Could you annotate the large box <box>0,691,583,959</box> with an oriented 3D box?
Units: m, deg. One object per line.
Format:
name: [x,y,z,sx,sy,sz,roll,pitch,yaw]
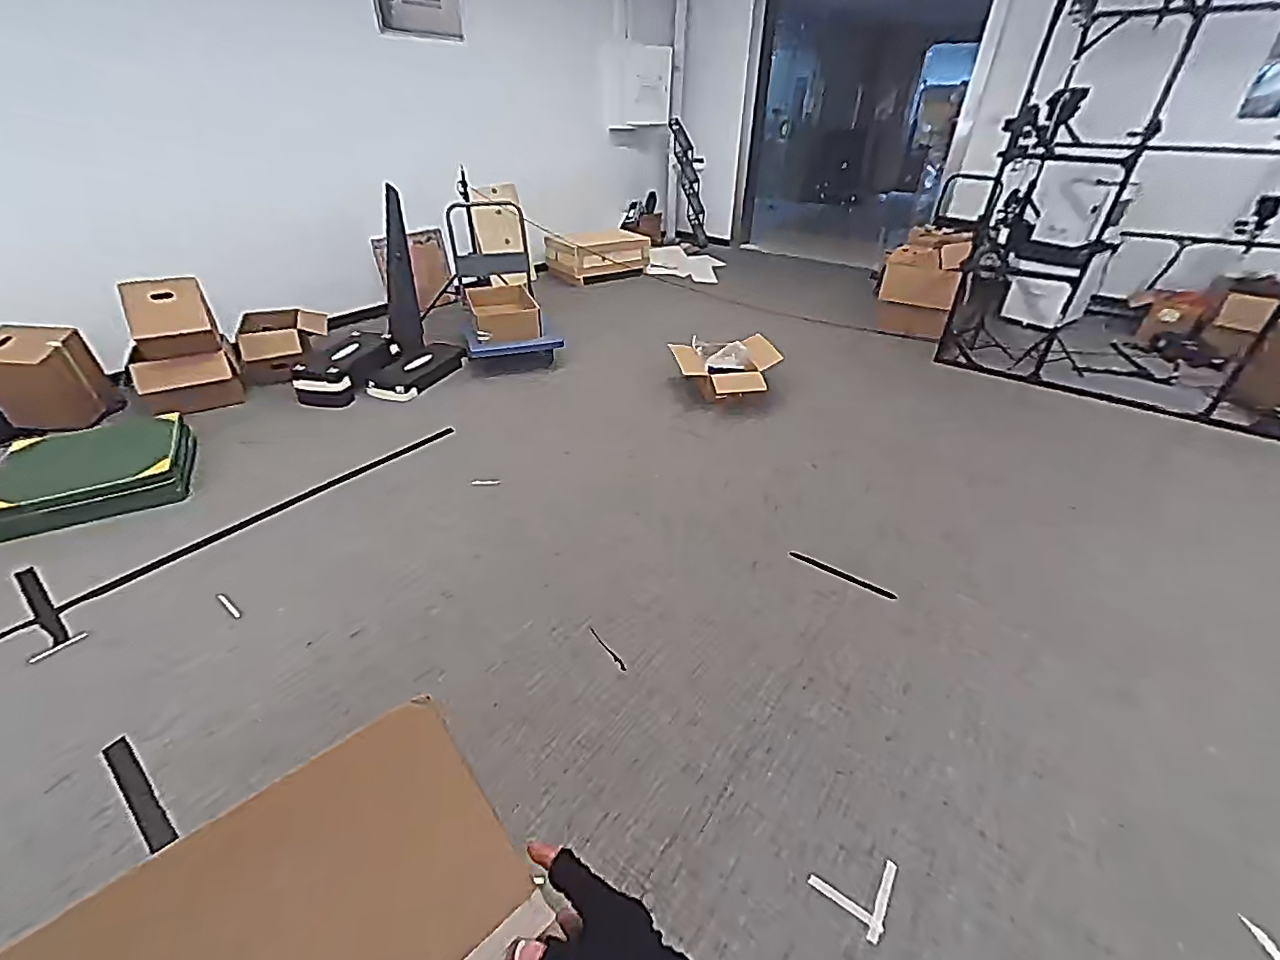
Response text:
large box: [-0.265,0.416,0.353,0.408,0.320,0.320,-26,76,-36]
